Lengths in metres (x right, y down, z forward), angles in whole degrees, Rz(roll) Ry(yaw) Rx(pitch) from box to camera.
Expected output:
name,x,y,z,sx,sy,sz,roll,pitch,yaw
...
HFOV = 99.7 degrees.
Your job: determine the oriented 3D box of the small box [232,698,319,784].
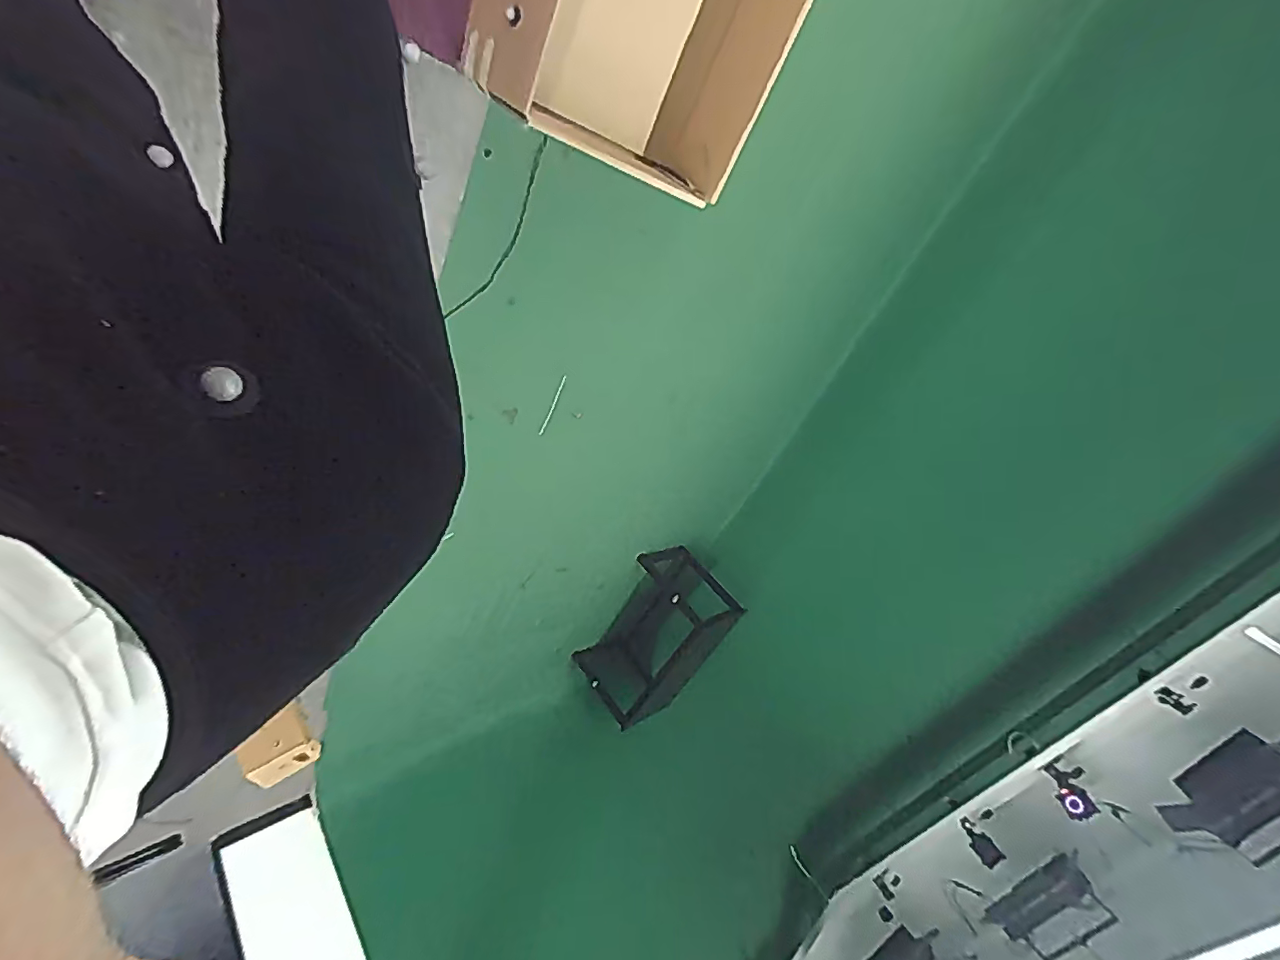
name,x,y,z,sx,sy,sz,roll,pitch,yaw
small box,-1.212,0.863,1.800,0.179,0.176,0.168,-27,147,-28
